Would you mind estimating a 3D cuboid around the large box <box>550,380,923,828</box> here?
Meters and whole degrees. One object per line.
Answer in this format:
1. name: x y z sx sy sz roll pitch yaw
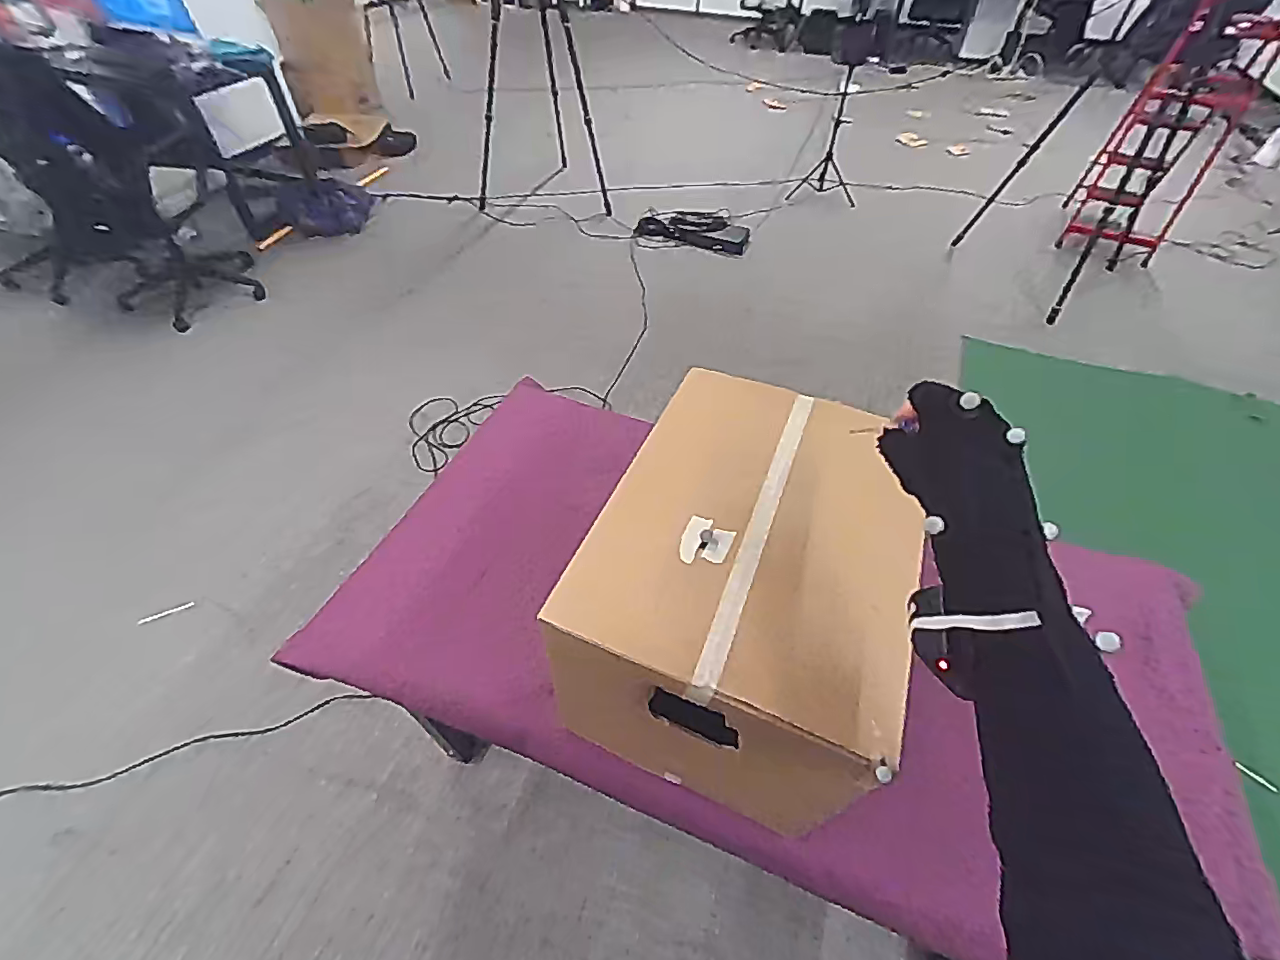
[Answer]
1. large box: 0.126 0.143 0.694 0.320 0.320 0.408 19 51 15
